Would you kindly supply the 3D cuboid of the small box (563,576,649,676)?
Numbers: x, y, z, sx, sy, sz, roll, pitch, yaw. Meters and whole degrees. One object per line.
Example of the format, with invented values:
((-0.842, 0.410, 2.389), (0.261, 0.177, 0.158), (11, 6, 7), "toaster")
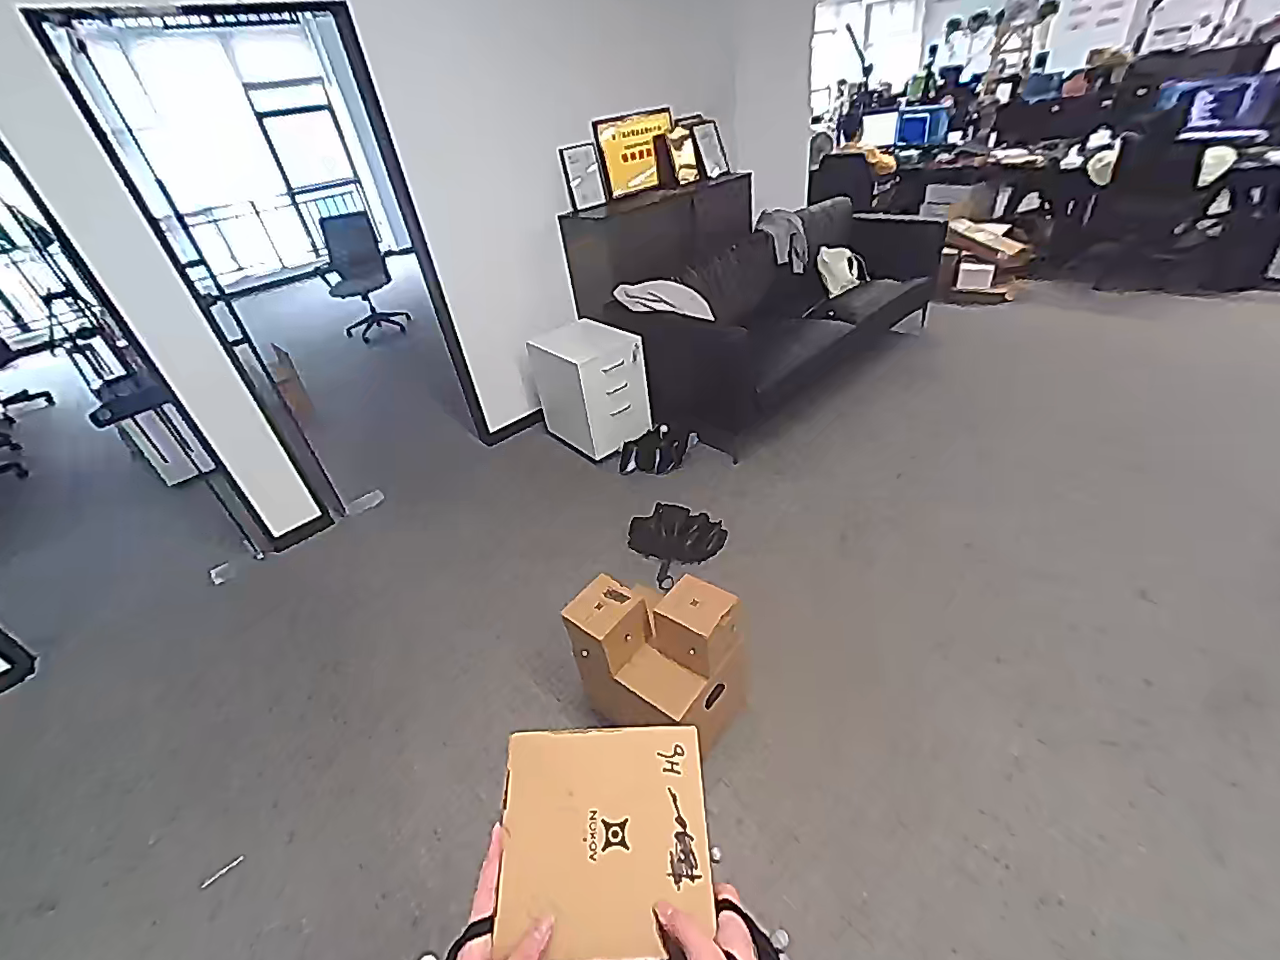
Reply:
((-0.089, 0.415, 1.535), (0.168, 0.176, 0.179), (22, 49, 37), "small box")

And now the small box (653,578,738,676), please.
((0.158, 0.407, 1.490), (0.179, 0.176, 0.168), (18, 39, 35), "small box")
